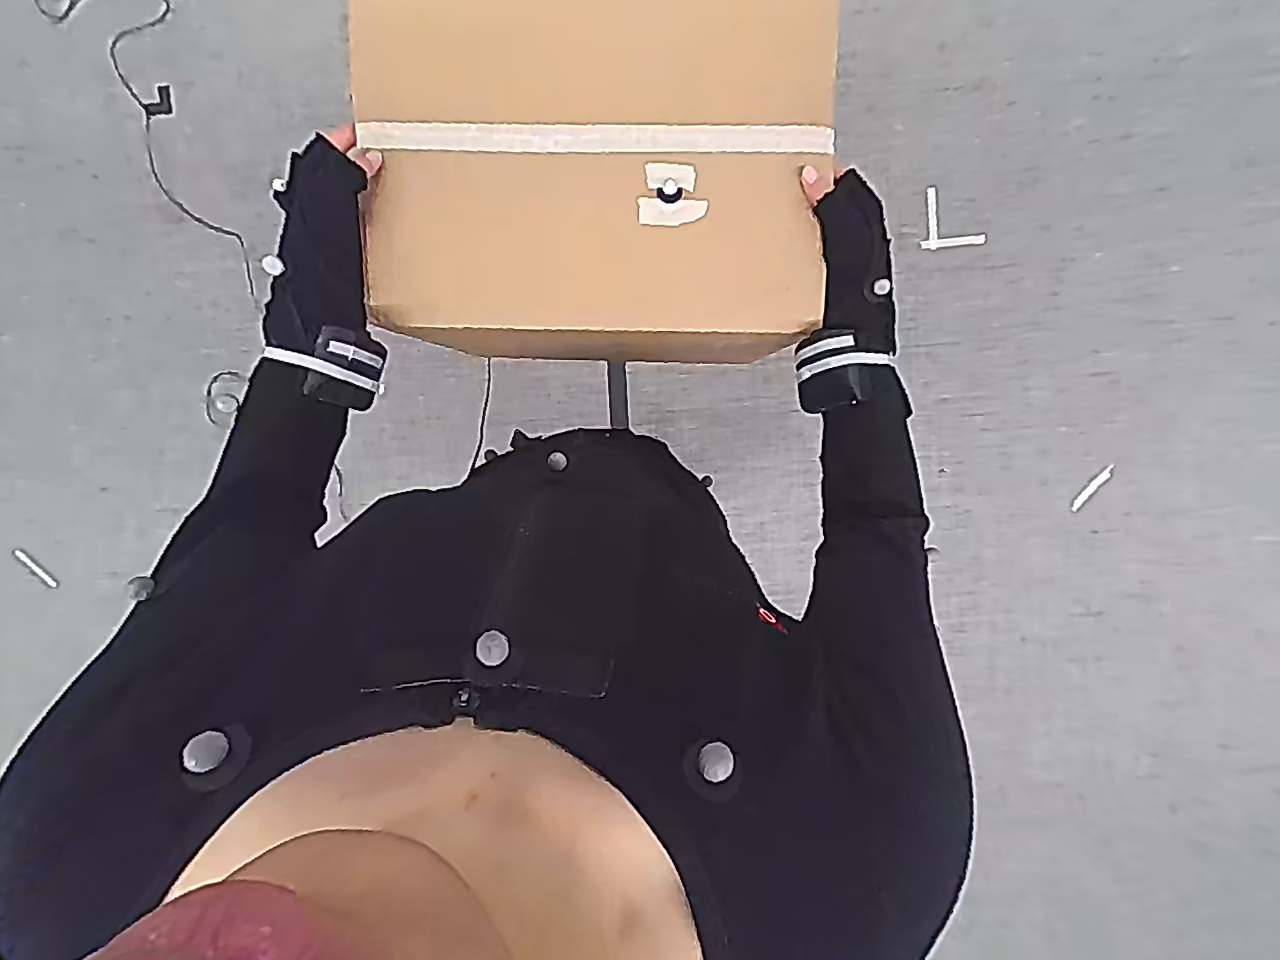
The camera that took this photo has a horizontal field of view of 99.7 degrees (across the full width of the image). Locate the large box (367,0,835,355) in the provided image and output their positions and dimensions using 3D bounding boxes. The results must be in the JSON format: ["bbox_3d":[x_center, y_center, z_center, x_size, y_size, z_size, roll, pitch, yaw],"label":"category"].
[{"bbox_3d":[-0.035,-0.317,0.616,0.408,0.320,0.320,1,98,0],"label":"large box"}]
